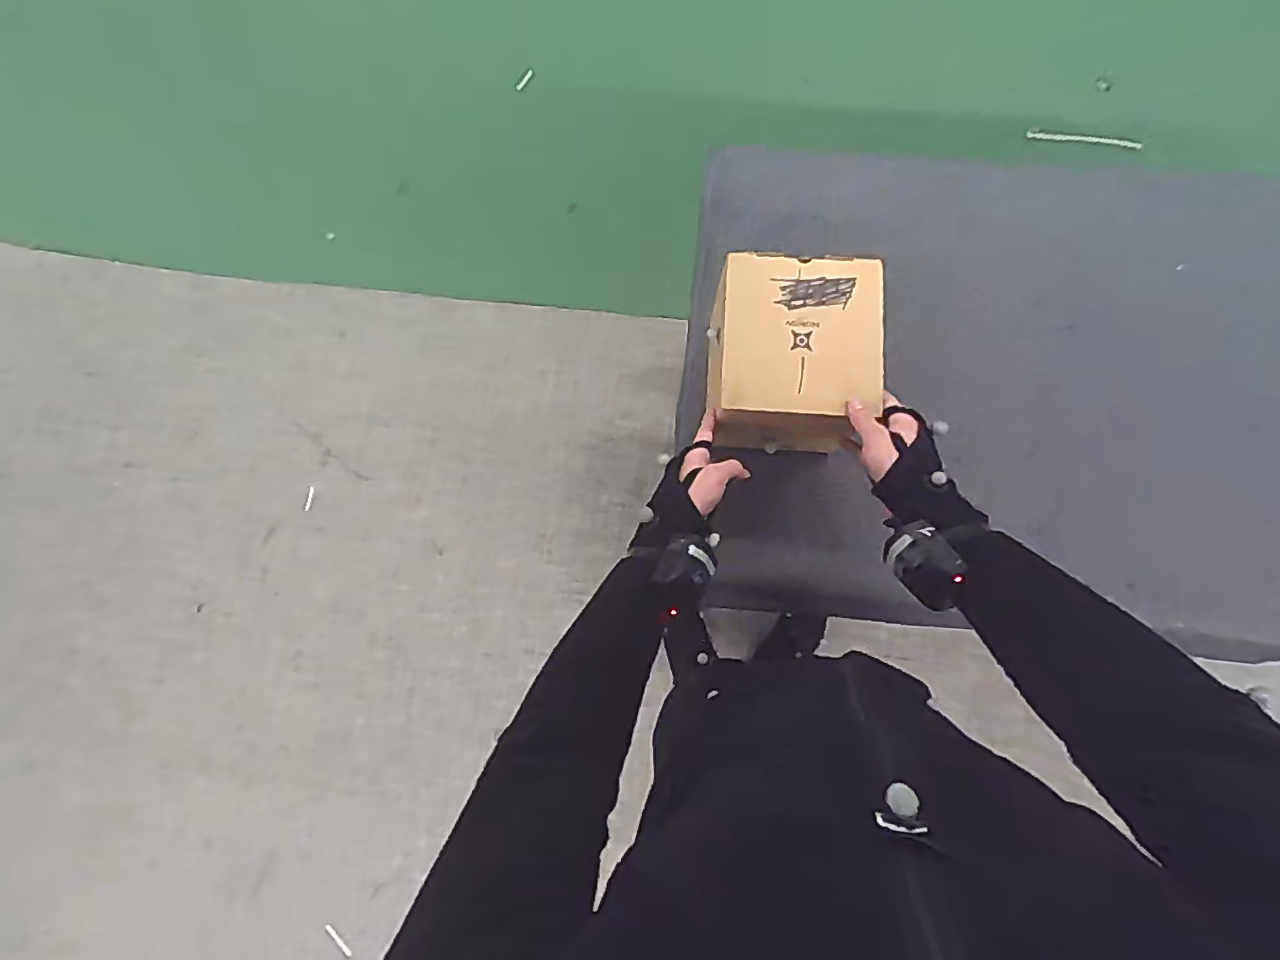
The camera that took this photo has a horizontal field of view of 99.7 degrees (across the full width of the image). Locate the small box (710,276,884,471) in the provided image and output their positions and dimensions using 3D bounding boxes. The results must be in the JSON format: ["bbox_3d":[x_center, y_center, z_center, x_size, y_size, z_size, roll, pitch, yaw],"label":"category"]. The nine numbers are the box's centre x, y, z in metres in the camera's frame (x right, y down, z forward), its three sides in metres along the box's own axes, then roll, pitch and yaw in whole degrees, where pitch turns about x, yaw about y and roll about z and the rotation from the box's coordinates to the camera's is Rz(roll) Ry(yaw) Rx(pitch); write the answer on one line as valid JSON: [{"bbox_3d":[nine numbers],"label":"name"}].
[{"bbox_3d":[0.175,-0.117,0.648,0.168,0.176,0.179,3,80,2],"label":"small box"}]
